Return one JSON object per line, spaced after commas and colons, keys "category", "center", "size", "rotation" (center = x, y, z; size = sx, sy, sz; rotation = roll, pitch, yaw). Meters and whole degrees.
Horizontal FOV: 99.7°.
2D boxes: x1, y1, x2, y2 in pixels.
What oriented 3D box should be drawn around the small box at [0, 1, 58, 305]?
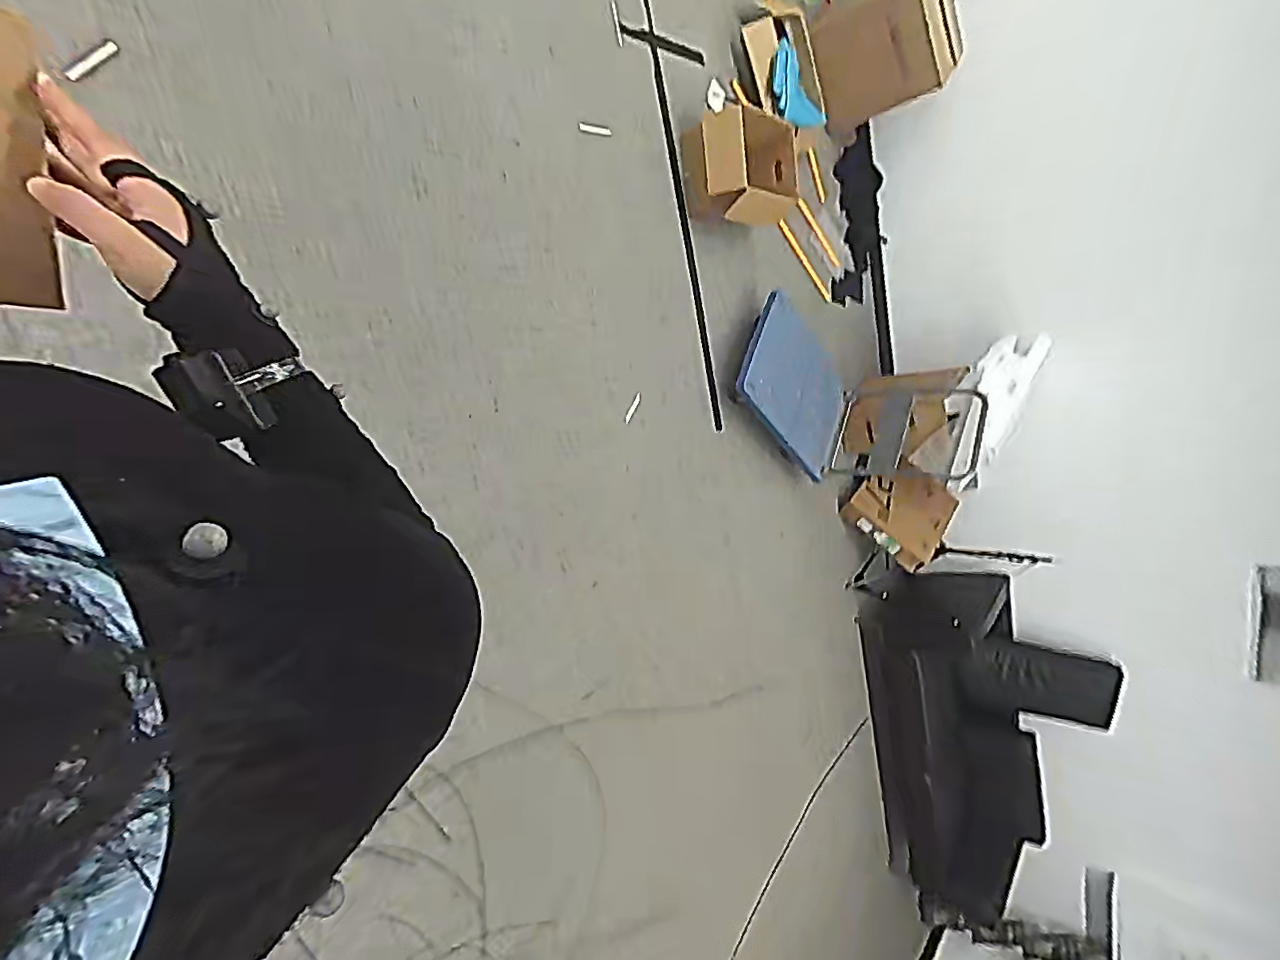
{"category": "small box", "center": [-0.490, -0.226, 0.329], "size": [0.168, 0.176, 0.179], "rotation": [-10, 124, -50]}
